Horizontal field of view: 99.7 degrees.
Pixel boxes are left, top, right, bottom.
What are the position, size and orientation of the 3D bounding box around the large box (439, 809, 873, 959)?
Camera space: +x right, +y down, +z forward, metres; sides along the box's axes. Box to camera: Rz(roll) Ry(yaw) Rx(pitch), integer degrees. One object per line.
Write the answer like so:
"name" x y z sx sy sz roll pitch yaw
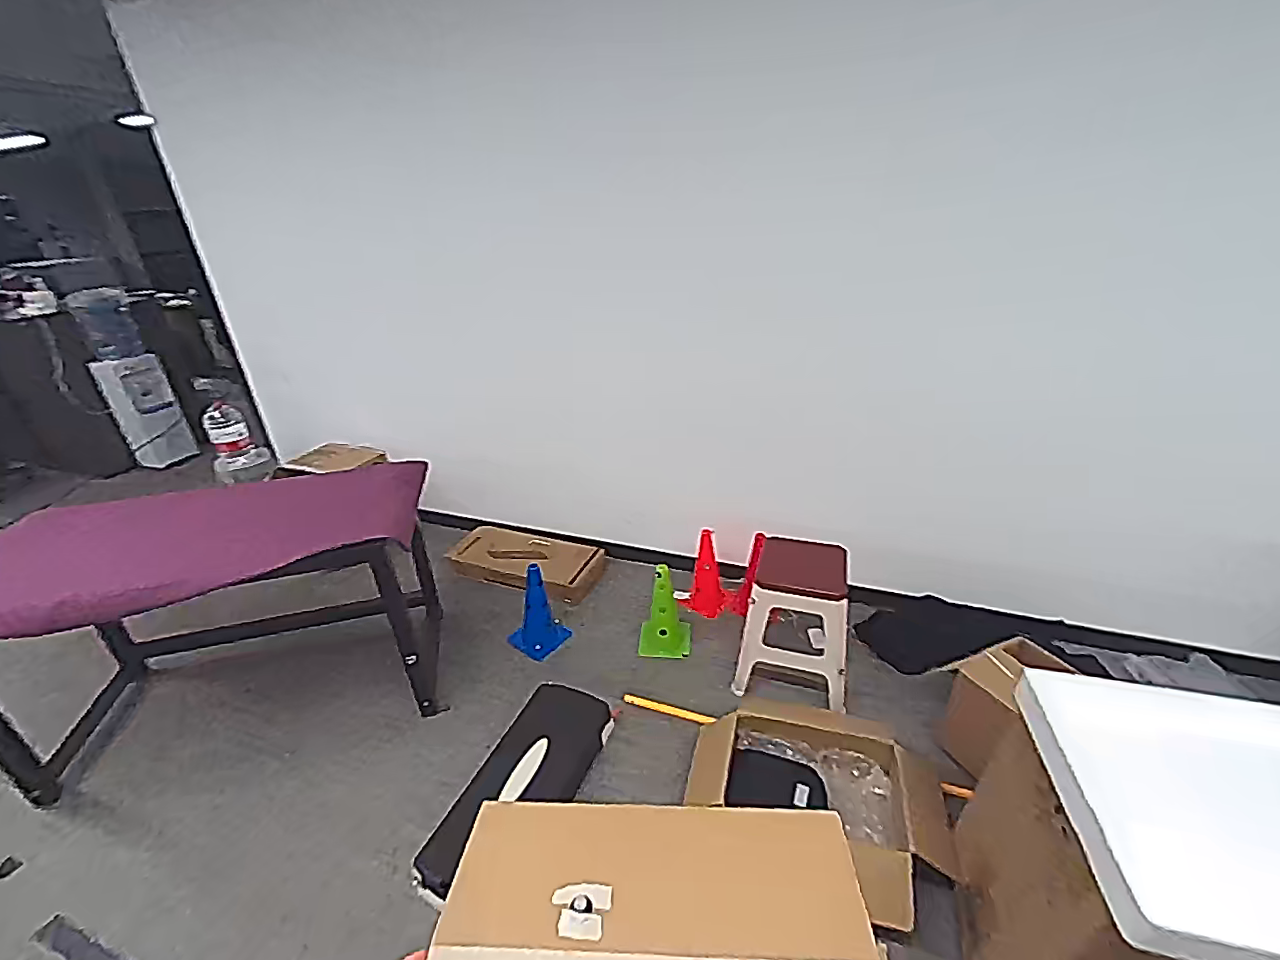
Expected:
"large box" 0.021 0.577 0.536 0.408 0.320 0.320 -3 22 4
